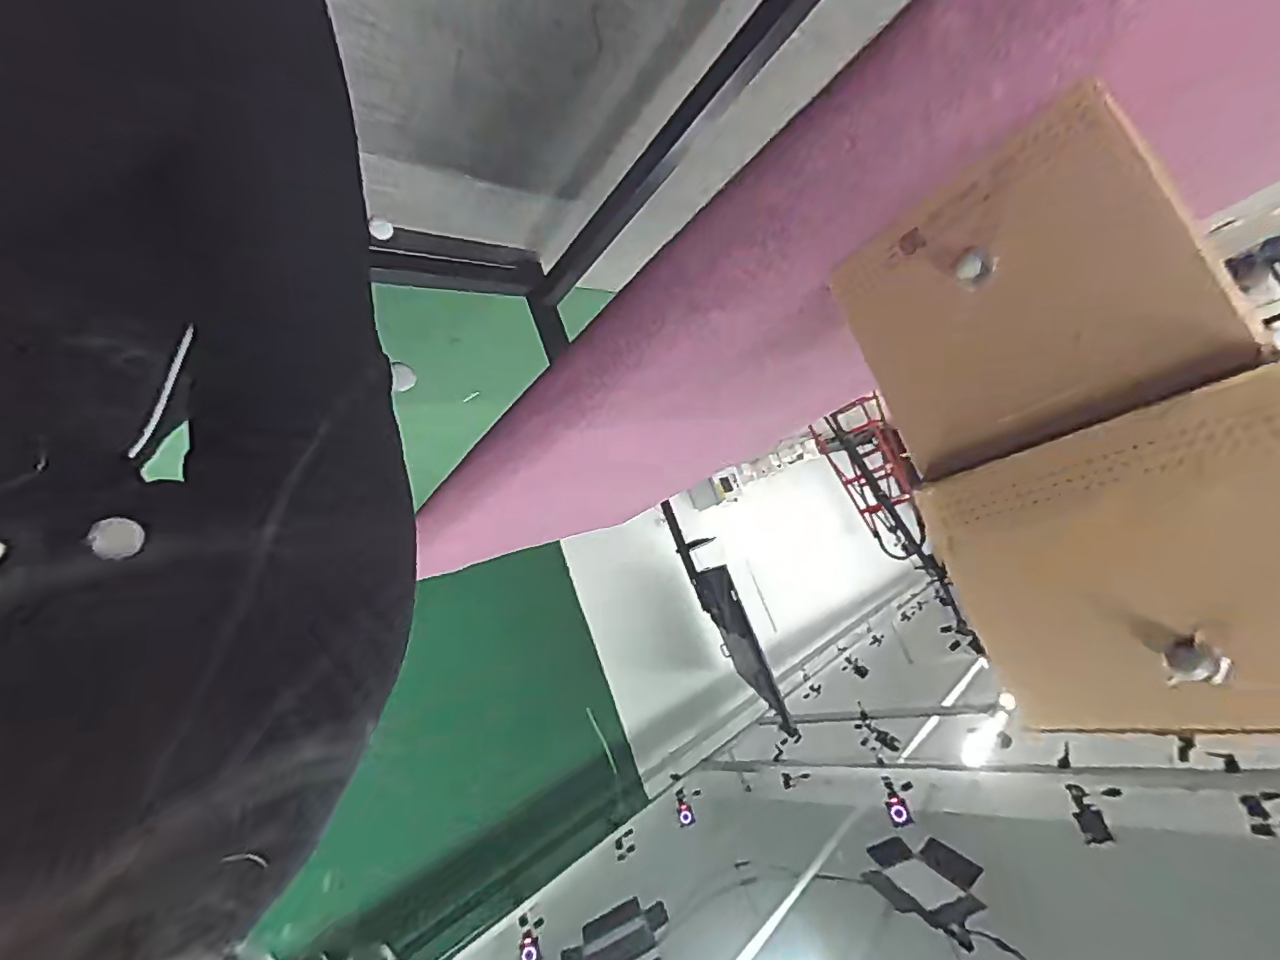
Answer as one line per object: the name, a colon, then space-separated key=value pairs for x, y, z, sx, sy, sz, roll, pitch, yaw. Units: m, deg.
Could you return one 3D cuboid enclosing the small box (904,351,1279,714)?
small box: x=0.304 y=0.033 z=0.354 sx=0.168 sy=0.176 sz=0.179 roll=-13 pitch=167 yaw=-40
